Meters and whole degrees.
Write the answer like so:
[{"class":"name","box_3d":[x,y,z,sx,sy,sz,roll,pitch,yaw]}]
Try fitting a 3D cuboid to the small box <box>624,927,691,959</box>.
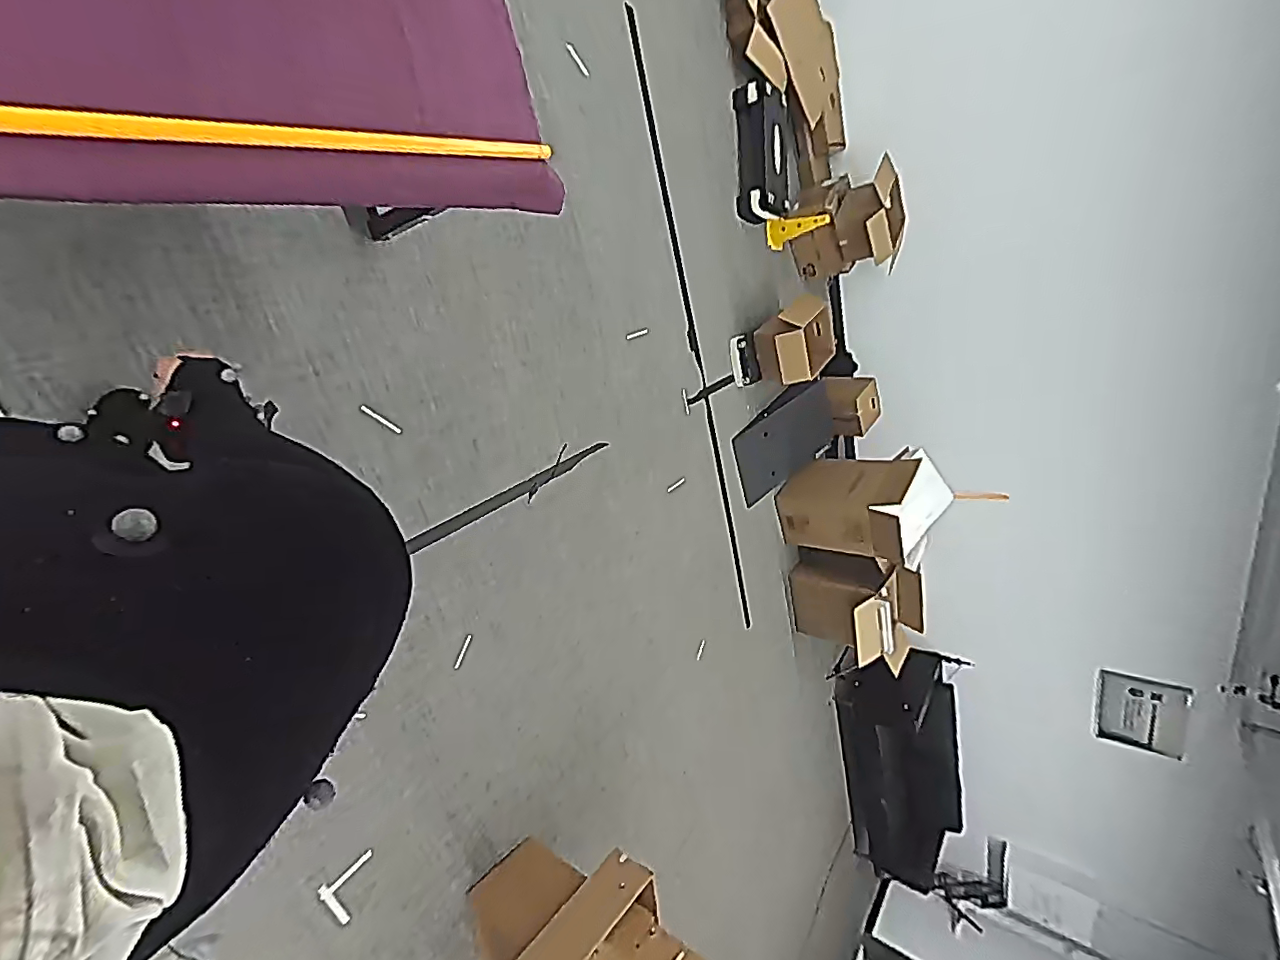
[{"class":"small box","box_3d":[0.055,1.656,1.808,0.168,0.176,0.179,-11,104,-49]}]
